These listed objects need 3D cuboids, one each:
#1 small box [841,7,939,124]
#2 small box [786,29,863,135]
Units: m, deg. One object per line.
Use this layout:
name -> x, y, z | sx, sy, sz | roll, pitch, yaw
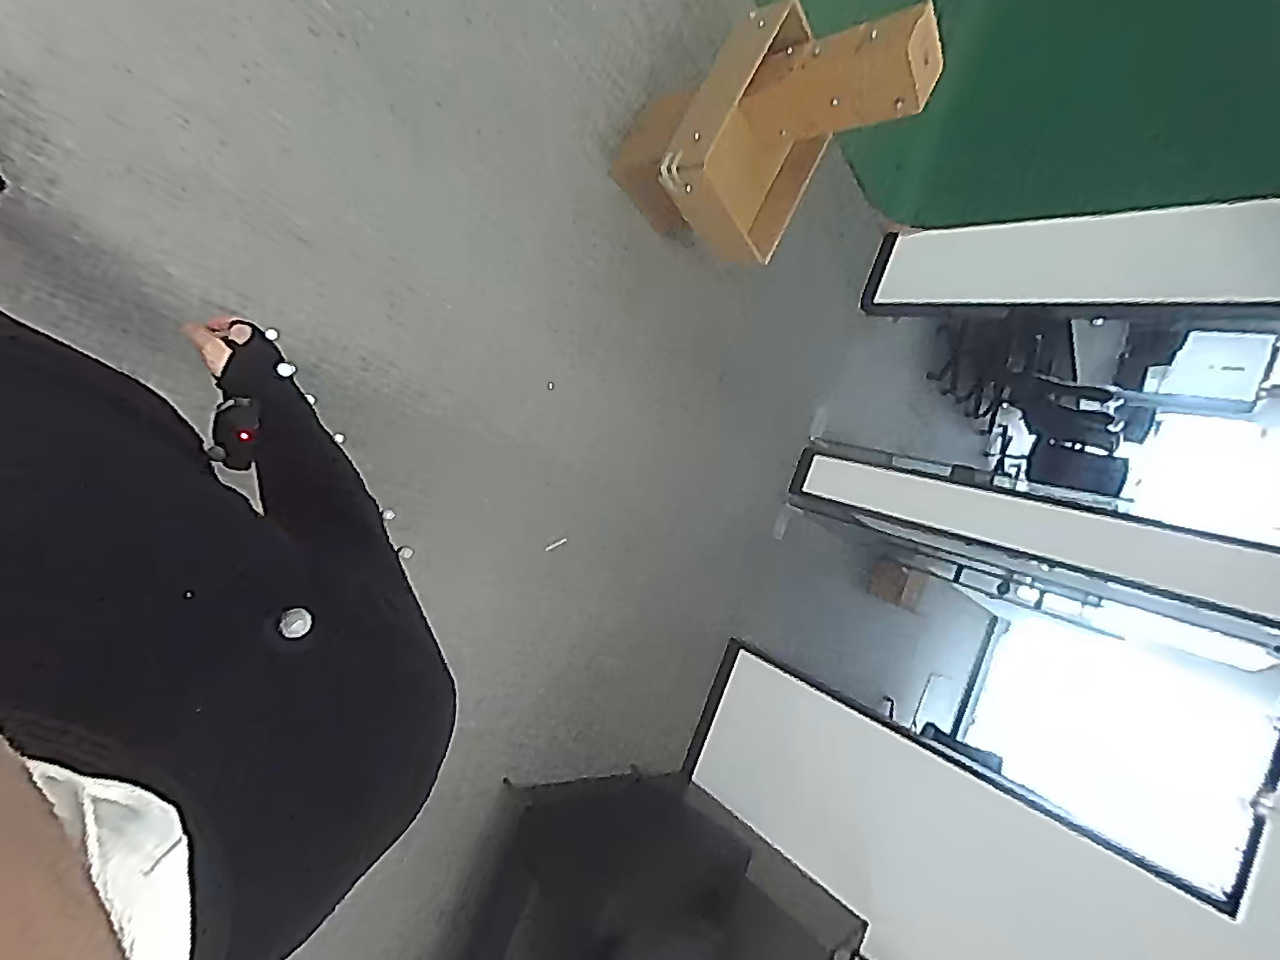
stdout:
small box -> 0.666, -1.089, 1.440 | 0.179, 0.176, 0.168 | 39, 75, -44
small box -> 0.551, -1.128, 1.552 | 0.179, 0.176, 0.168 | 38, 77, -44
